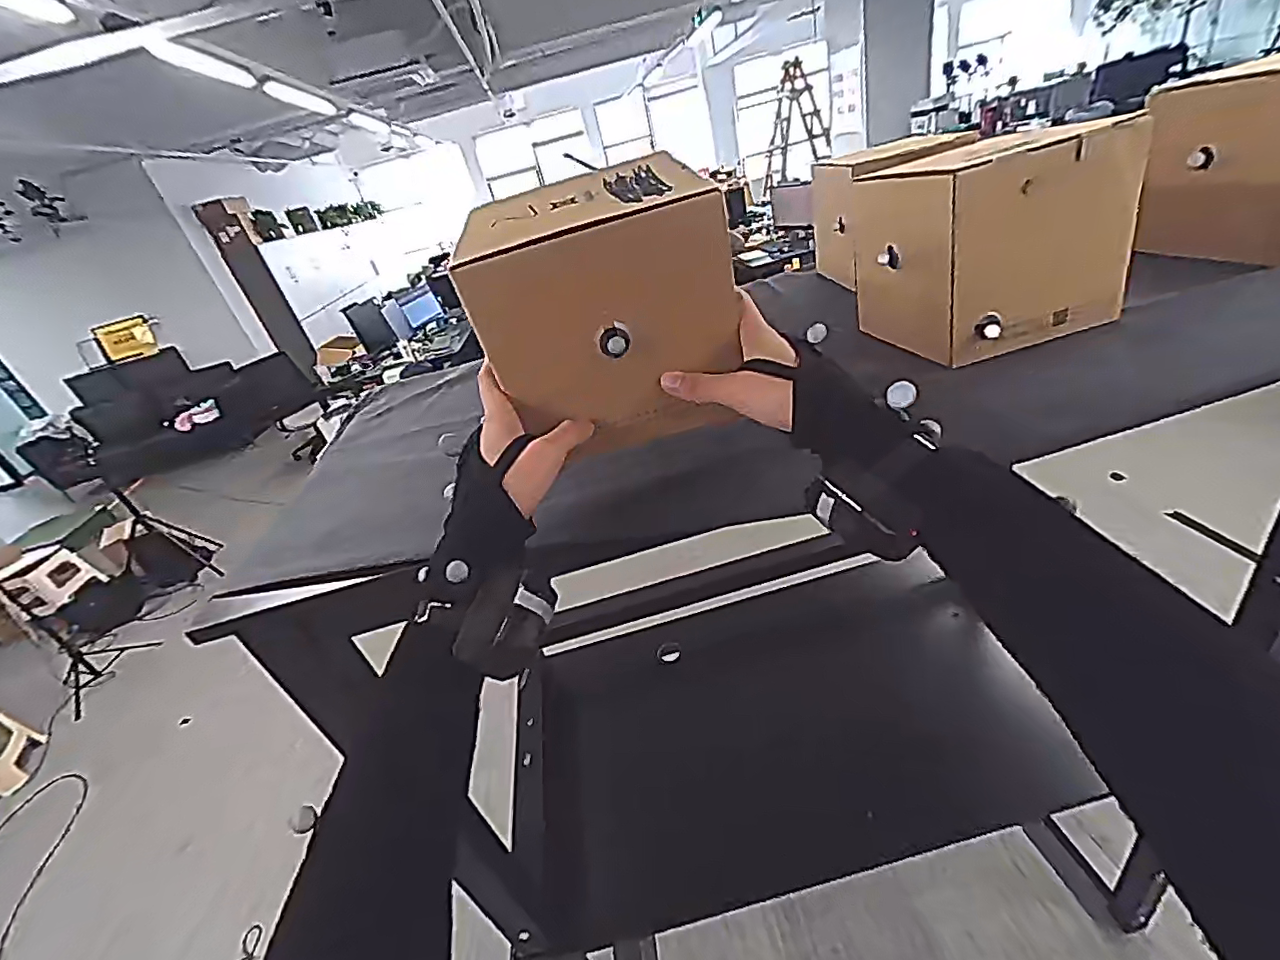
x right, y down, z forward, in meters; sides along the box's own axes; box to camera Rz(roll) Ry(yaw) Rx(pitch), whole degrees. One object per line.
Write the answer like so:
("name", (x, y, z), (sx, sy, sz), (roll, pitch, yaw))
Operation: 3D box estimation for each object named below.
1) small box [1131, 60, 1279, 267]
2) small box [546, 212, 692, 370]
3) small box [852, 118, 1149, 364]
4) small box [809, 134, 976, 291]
("small box", (0.658, -0.326, 0.547), (0.168, 0.176, 0.179), (-17, 29, -1))
("small box", (-0.032, -0.272, 0.783), (0.168, 0.176, 0.179), (-16, 30, -2))
("small box", (0.333, -0.227, 0.535), (0.168, 0.176, 0.179), (-16, 28, 0))
("small box", (0.364, -0.390, 0.801), (0.168, 0.176, 0.179), (-13, 30, 3))
